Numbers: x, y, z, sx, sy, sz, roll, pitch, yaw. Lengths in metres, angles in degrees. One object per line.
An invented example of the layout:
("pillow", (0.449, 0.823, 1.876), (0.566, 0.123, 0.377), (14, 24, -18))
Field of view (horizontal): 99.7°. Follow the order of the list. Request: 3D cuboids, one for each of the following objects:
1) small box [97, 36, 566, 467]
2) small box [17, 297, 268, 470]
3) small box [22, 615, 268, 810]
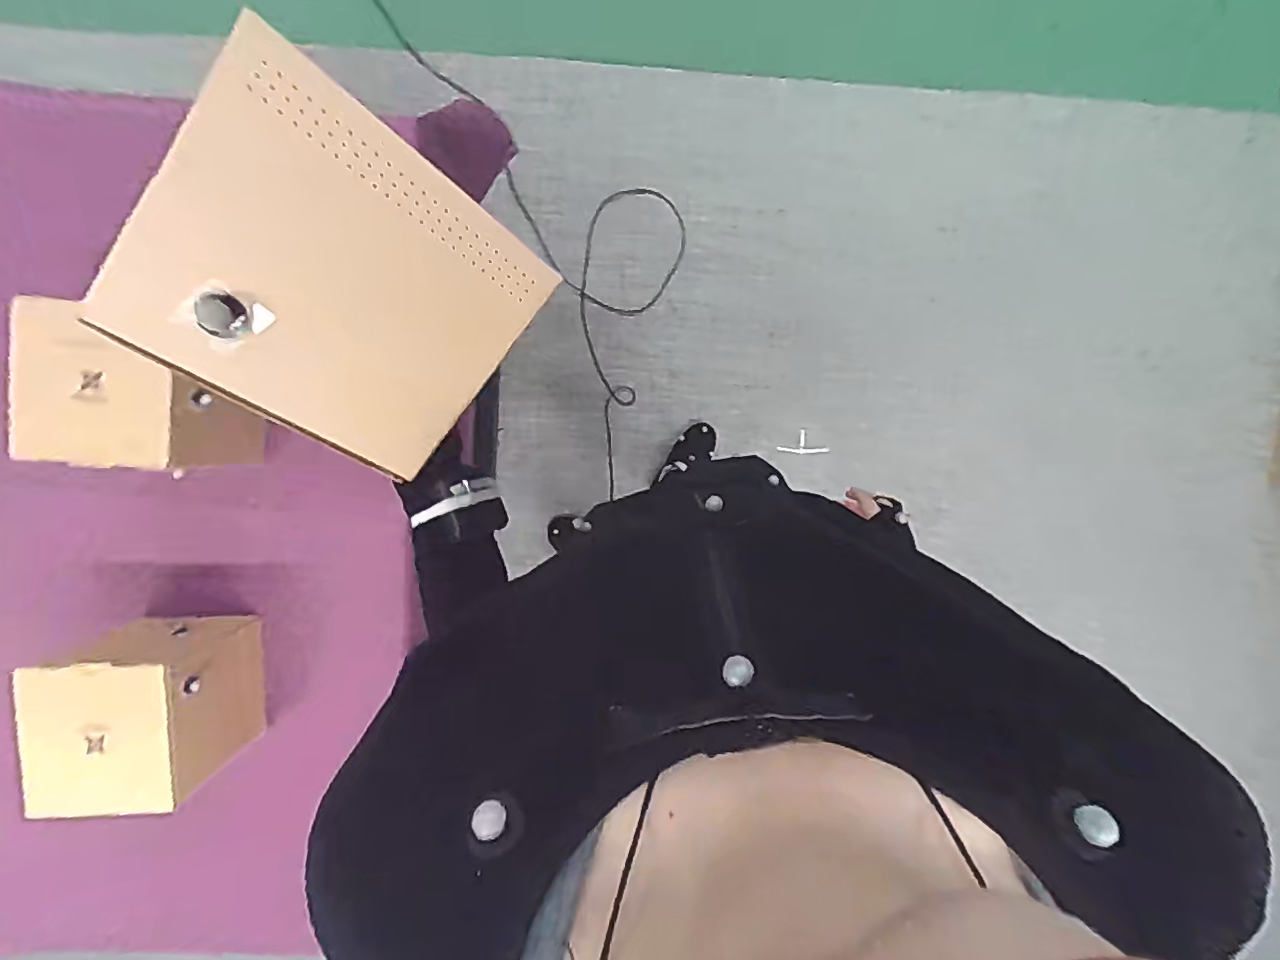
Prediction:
("small box", (-0.179, -0.147, 0.357), (0.179, 0.168, 0.176), (34, 105, -34))
("small box", (-0.593, -0.109, 0.668), (0.168, 0.176, 0.179), (5, 93, -3))
("small box", (-0.614, 0.286, 0.695), (0.168, 0.176, 0.179), (-2, 93, -2))
